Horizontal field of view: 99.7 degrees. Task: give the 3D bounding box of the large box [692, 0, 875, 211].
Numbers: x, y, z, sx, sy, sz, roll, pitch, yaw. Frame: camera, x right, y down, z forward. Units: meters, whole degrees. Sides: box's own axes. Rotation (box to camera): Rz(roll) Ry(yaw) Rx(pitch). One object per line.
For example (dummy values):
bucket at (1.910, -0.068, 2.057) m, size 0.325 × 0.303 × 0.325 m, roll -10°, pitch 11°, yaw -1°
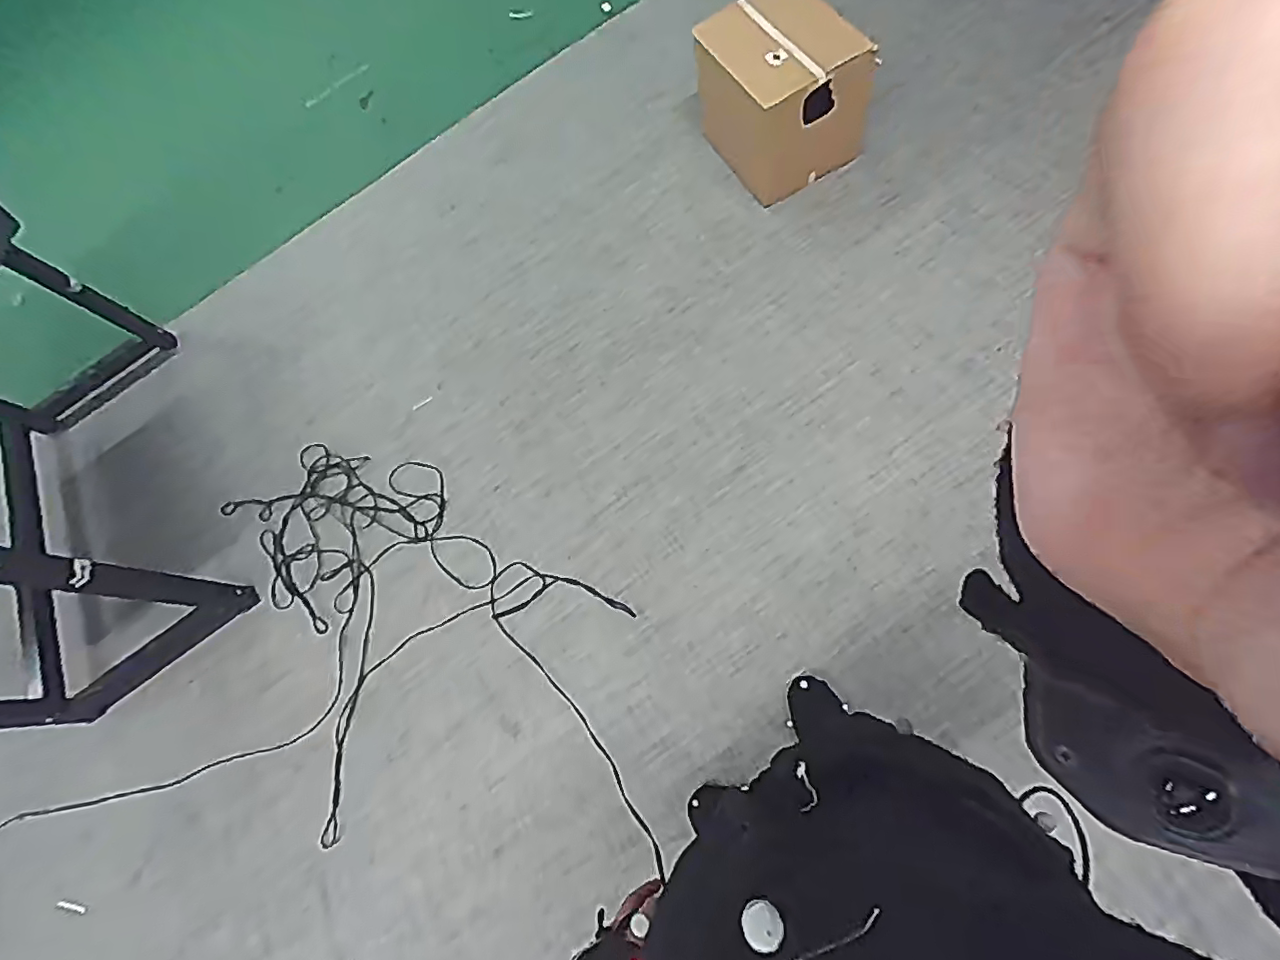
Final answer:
large box at (0.391, -1.079, 1.550) m, size 0.320 × 0.320 × 0.408 m, roll -30°, pitch 68°, yaw 2°
